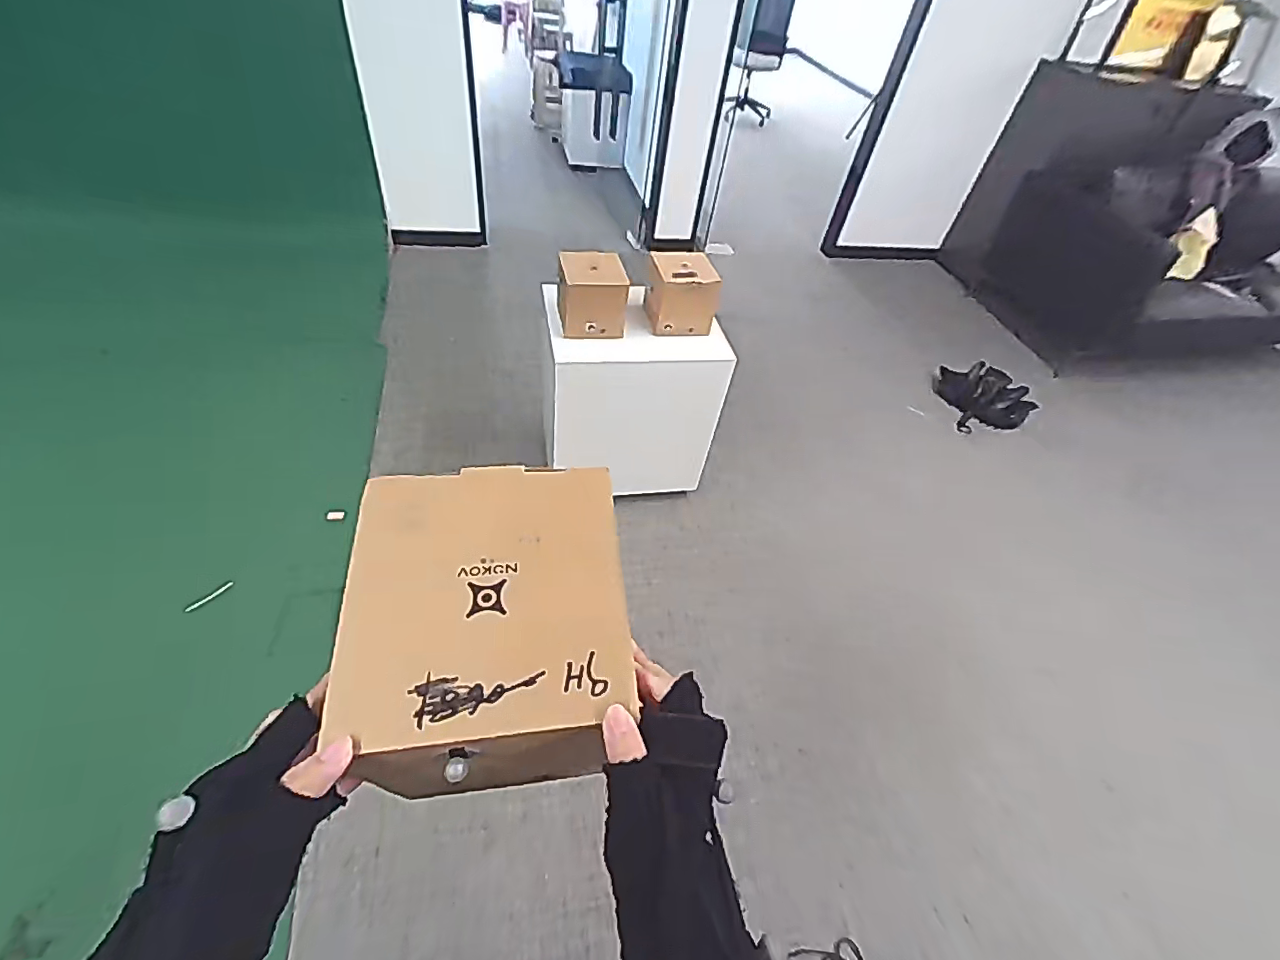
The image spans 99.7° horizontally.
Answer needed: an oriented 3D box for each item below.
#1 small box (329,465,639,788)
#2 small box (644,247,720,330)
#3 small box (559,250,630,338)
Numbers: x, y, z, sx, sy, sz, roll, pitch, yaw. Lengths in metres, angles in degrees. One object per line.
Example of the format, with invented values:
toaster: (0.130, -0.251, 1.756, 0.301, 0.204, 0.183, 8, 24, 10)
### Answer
small box: (-0.097, 0.110, 0.402, 0.168, 0.176, 0.179, -4, 54, -8)
small box: (0.113, -0.544, 1.546, 0.168, 0.176, 0.179, -5, 49, -13)
small box: (-0.132, -0.511, 1.483, 0.168, 0.176, 0.179, -7, 51, -14)
